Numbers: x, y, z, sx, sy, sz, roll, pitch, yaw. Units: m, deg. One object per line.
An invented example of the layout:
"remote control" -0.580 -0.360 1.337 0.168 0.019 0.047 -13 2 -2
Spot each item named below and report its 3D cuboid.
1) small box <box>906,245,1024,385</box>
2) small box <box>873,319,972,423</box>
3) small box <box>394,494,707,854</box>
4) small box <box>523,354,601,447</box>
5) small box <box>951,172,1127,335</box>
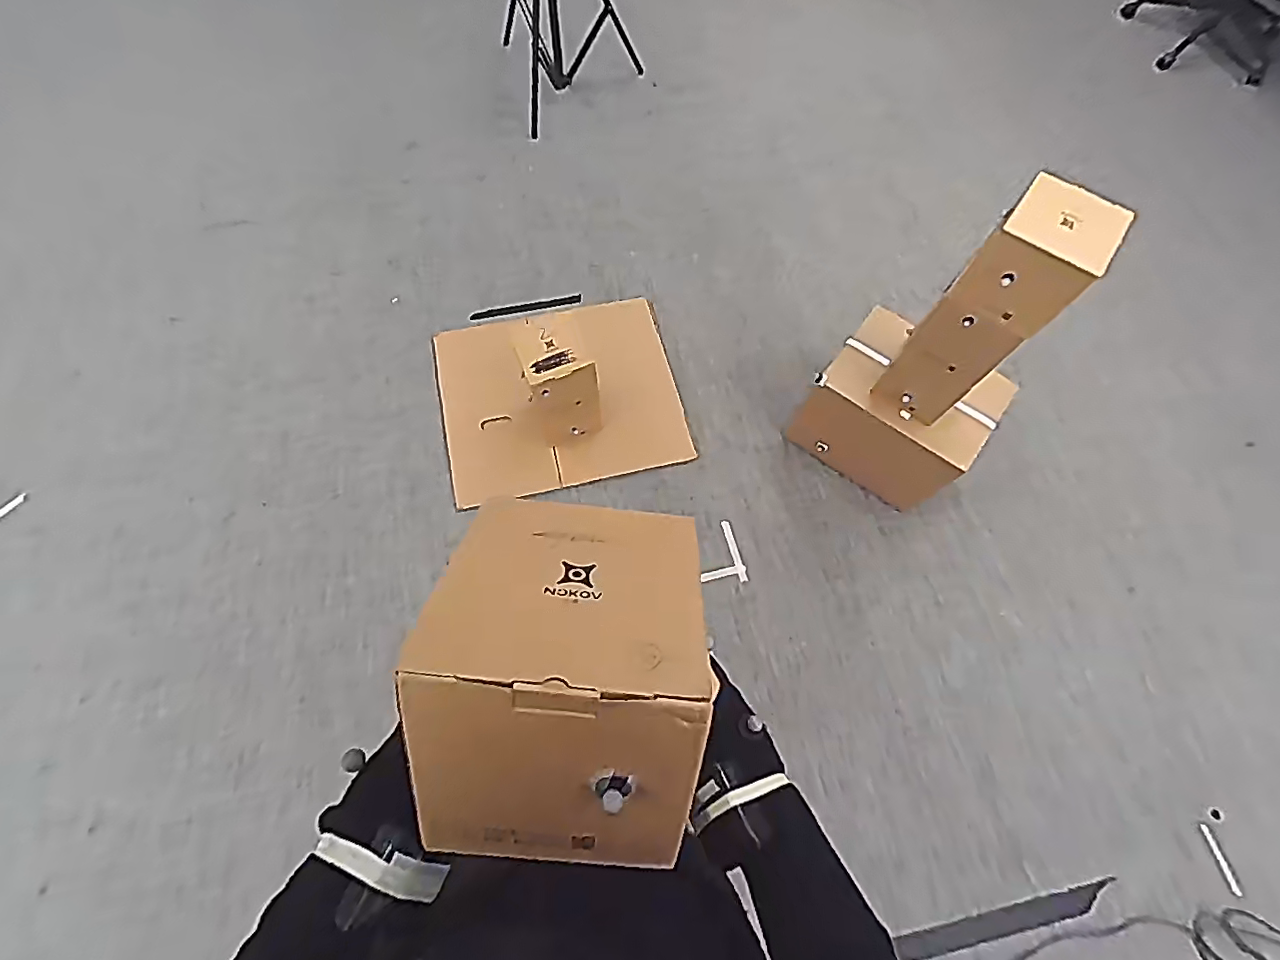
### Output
"small box" 0.685 -0.334 1.112 0.168 0.176 0.179 35 70 12
"small box" 0.678 -0.268 1.262 0.168 0.176 0.179 35 71 12
"small box" -0.050 0.131 0.387 0.168 0.176 0.179 6 28 -2
"small box" -0.217 -0.222 1.537 0.168 0.176 0.179 -21 70 -8
"small box" 0.692 -0.393 0.960 0.168 0.176 0.179 34 70 12
